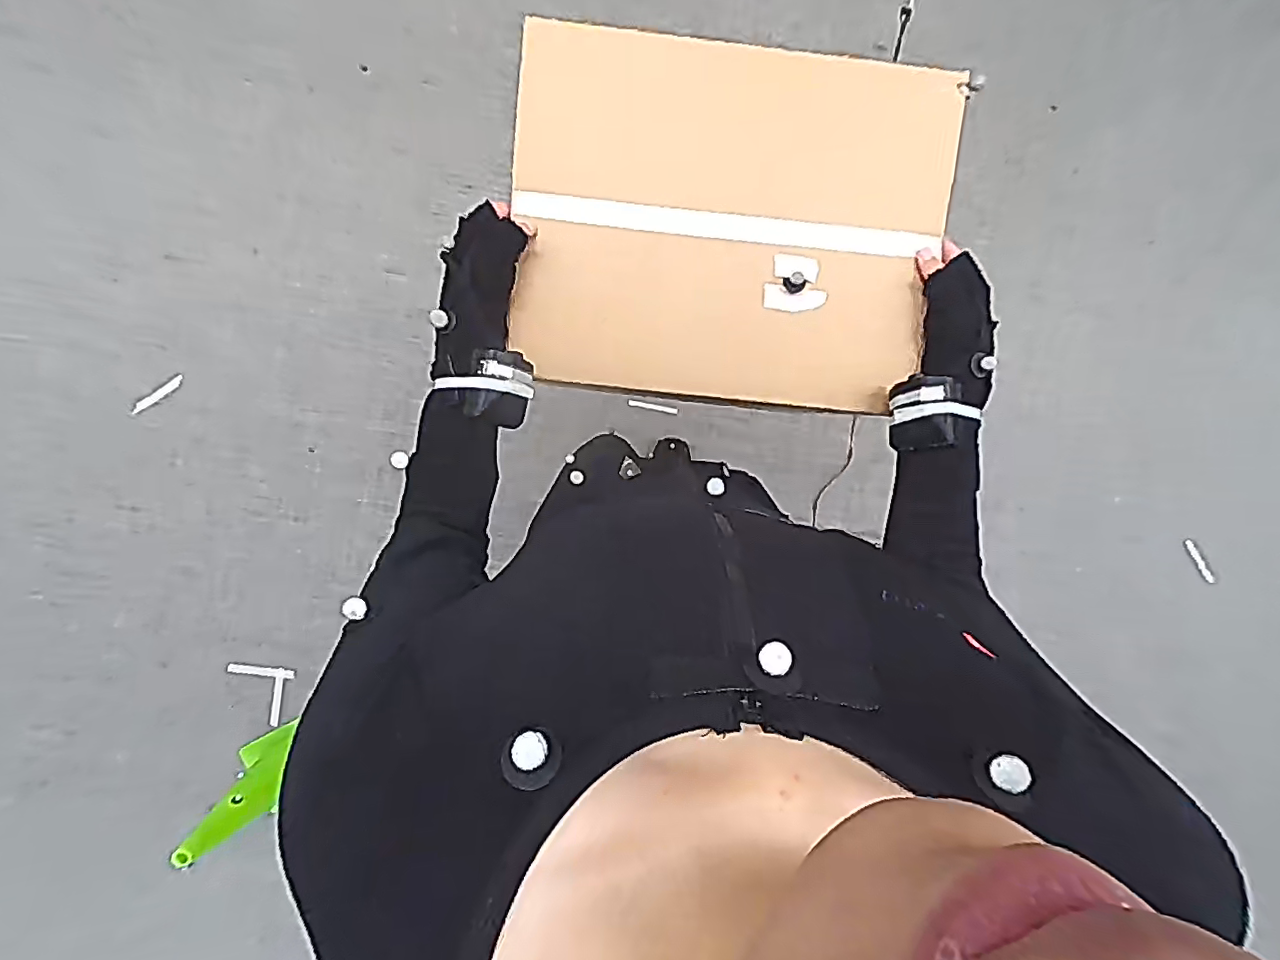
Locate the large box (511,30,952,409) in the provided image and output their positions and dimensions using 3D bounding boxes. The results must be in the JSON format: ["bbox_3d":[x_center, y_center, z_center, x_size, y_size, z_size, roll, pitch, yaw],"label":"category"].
[{"bbox_3d":[0.077,-0.258,0.660,0.408,0.320,0.320,5,98,-2],"label":"large box"}]

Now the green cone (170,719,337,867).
[{"bbox_3d":[-0.942,0.768,1.288,0.202,0.368,0.200,-28,90,0],"label":"green cone"}]
